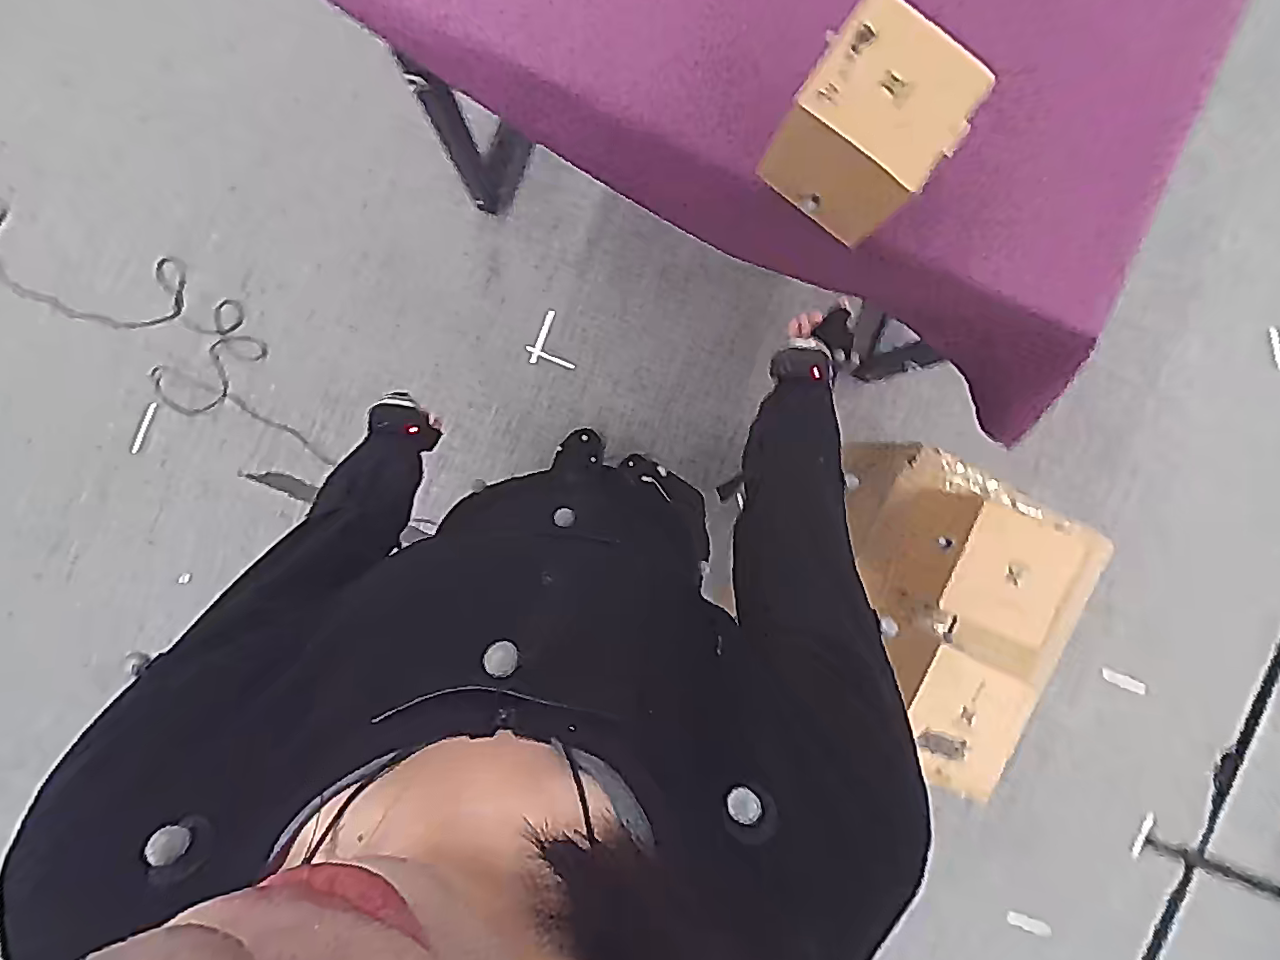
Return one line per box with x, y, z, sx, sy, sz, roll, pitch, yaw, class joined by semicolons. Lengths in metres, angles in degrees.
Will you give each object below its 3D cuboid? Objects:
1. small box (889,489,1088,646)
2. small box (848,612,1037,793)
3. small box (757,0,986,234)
0.525;0.123;0.844;0.168;0.176;0.179;23;93;-2;small box
0.456;0.335;0.848;0.168;0.176;0.179;26;89;-3;small box
0.282;-0.451;0.699;0.179;0.176;0.168;35;89;-5;small box
